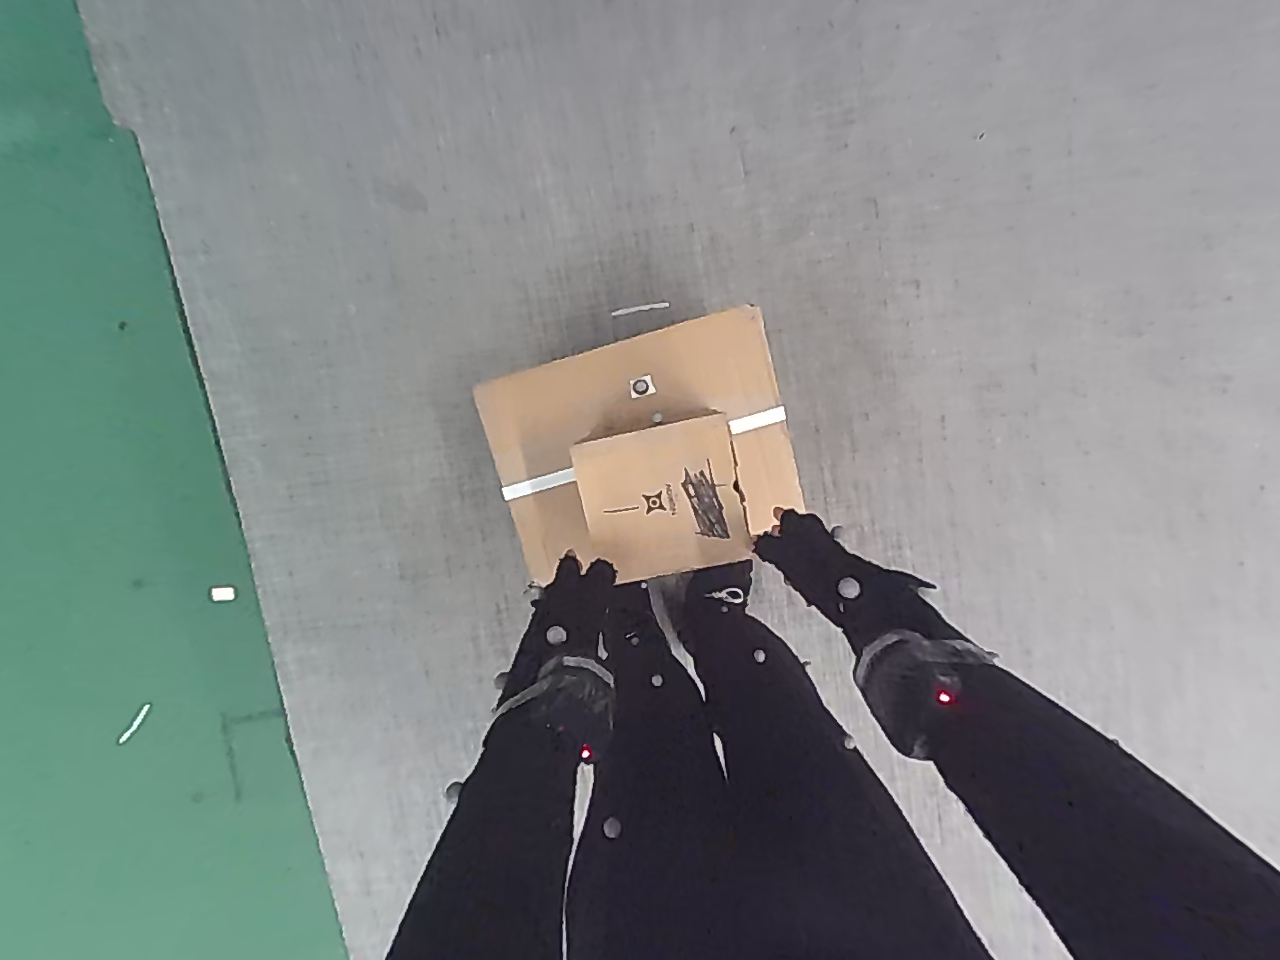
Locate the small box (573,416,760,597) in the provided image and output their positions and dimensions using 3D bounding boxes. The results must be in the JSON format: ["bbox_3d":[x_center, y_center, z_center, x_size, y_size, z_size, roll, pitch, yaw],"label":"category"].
[{"bbox_3d":[0.030,0.020,0.664,0.179,0.176,0.168,-15,98,3],"label":"small box"}]
